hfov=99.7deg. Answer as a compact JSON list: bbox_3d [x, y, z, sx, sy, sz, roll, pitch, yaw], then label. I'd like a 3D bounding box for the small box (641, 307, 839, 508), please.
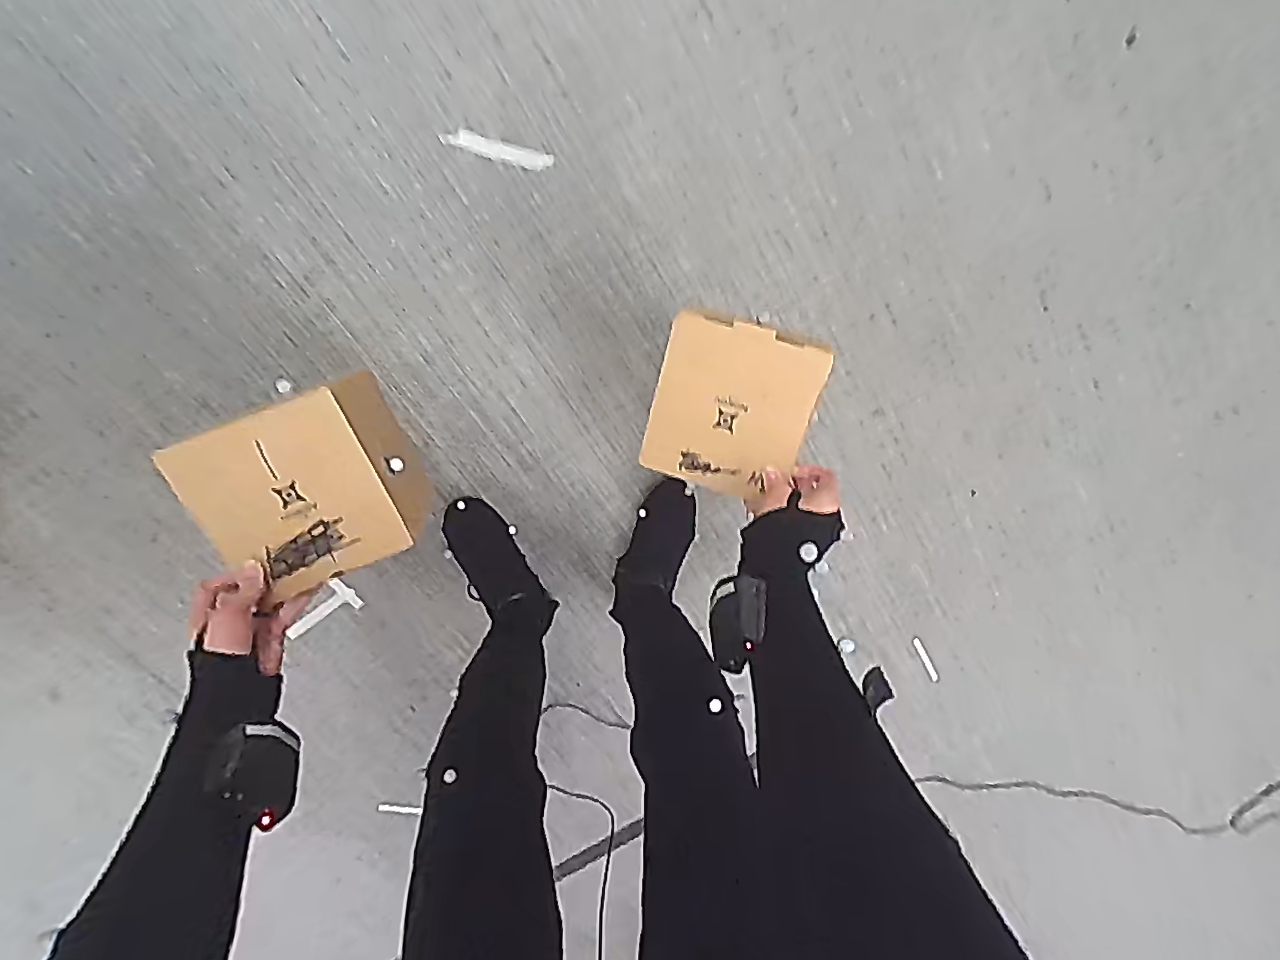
[{"bbox_3d":[0.118,-0.094,0.640,0.168,0.176,0.179,19,110,10],"label":"small box"}]

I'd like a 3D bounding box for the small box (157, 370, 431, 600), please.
[{"bbox_3d":[-0.350,-0.007,0.596,0.168,0.176,0.179,-23,111,-7],"label":"small box"}]
